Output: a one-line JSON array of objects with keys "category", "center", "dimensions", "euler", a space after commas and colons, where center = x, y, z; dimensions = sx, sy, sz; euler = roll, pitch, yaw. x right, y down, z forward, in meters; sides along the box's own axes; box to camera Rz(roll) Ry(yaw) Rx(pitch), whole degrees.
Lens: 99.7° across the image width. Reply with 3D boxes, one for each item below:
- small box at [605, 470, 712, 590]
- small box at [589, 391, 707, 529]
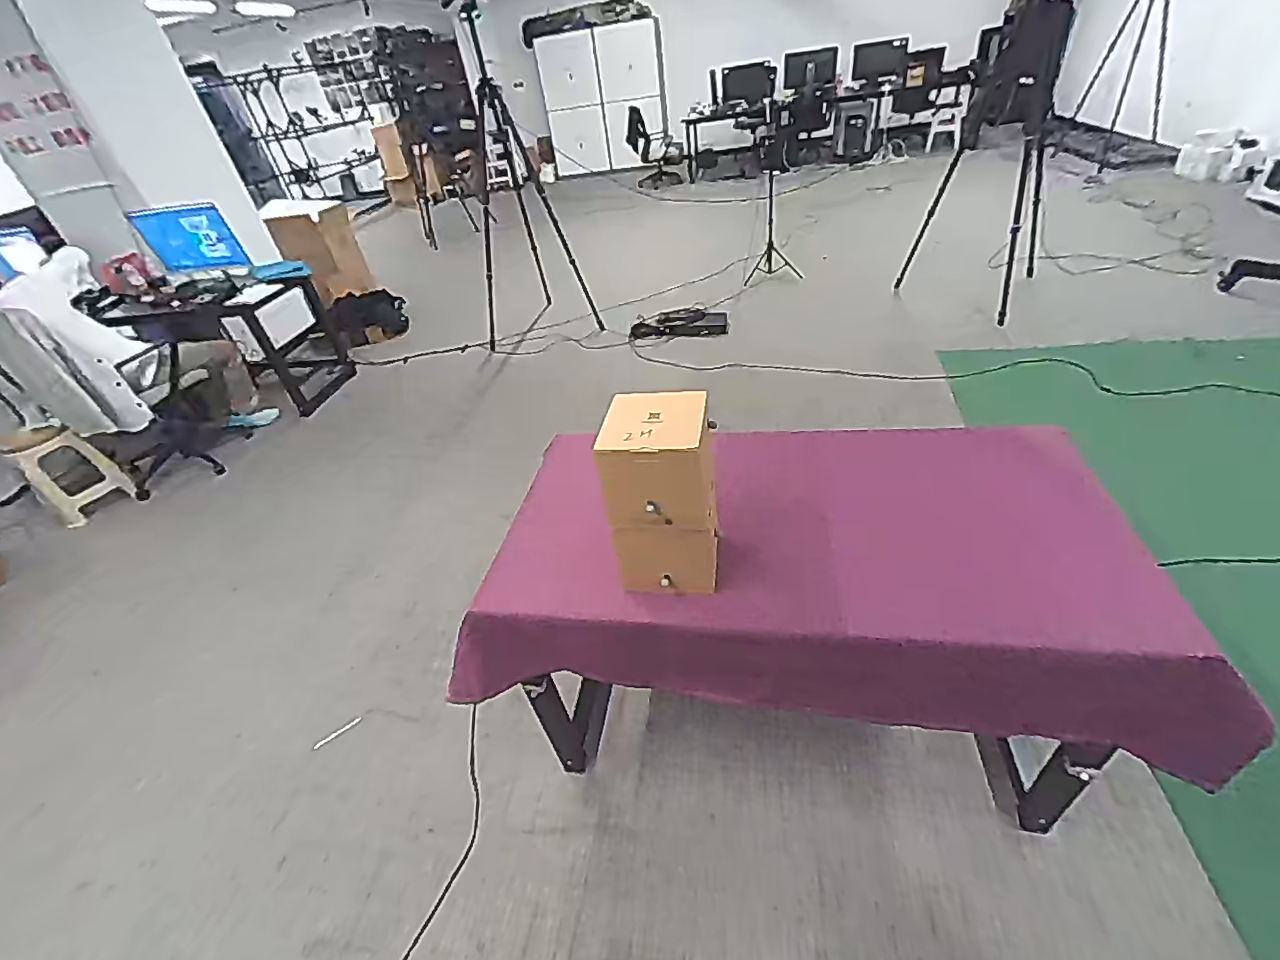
[{"category": "small box", "center": [0.045, 0.094, 1.029], "dimensions": [0.179, 0.176, 0.168], "euler": [-1, 39, 11]}, {"category": "small box", "center": [0.024, -0.037, 0.930], "dimensions": [0.168, 0.176, 0.179], "euler": [0, 40, 13]}]
